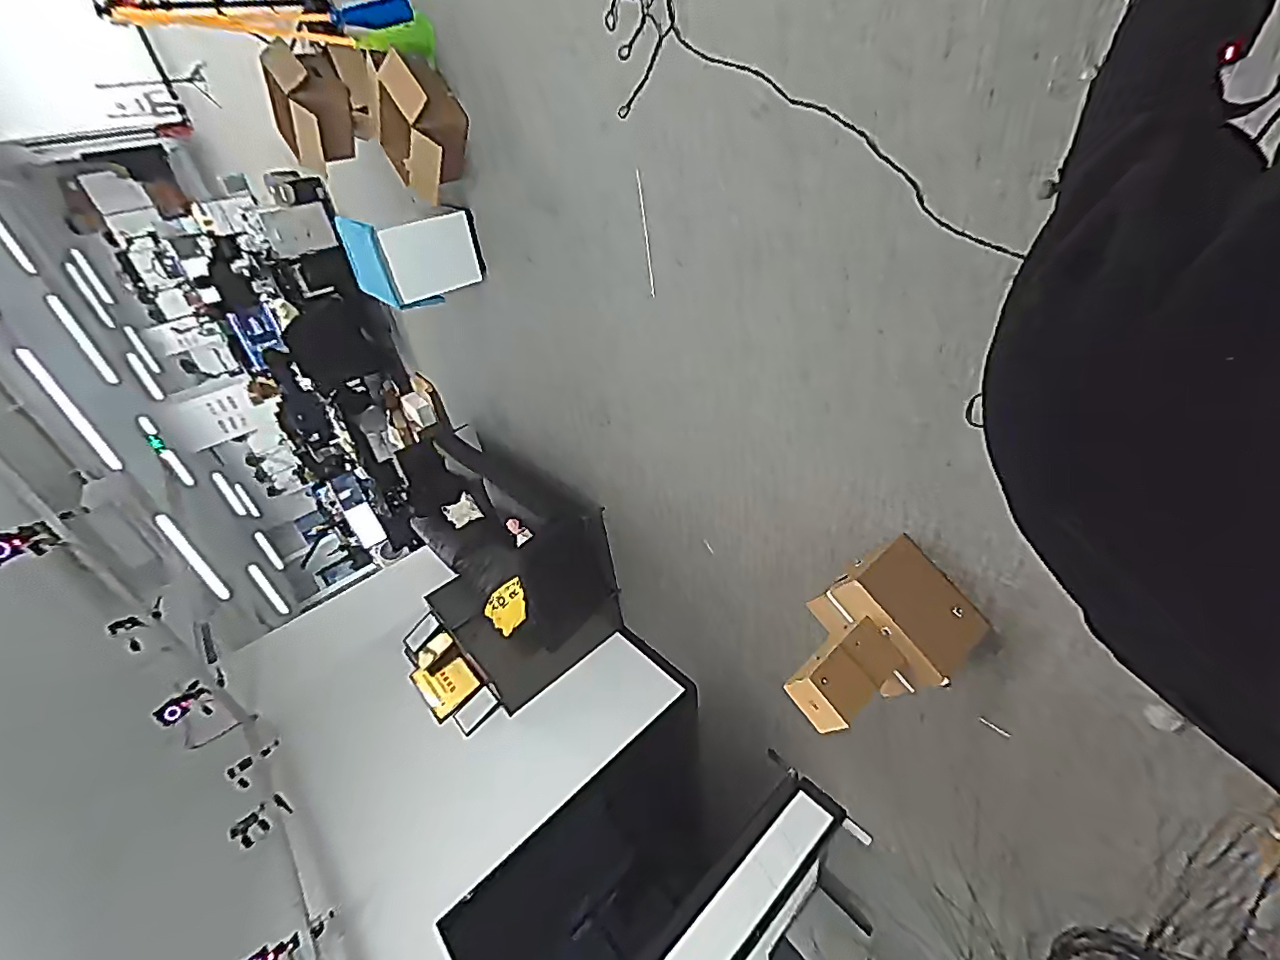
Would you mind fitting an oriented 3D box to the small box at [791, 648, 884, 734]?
[{"bbox_3d":[0.614,0.654,1.677,0.179,0.176,0.168,51,150,16],"label":"small box"}]
